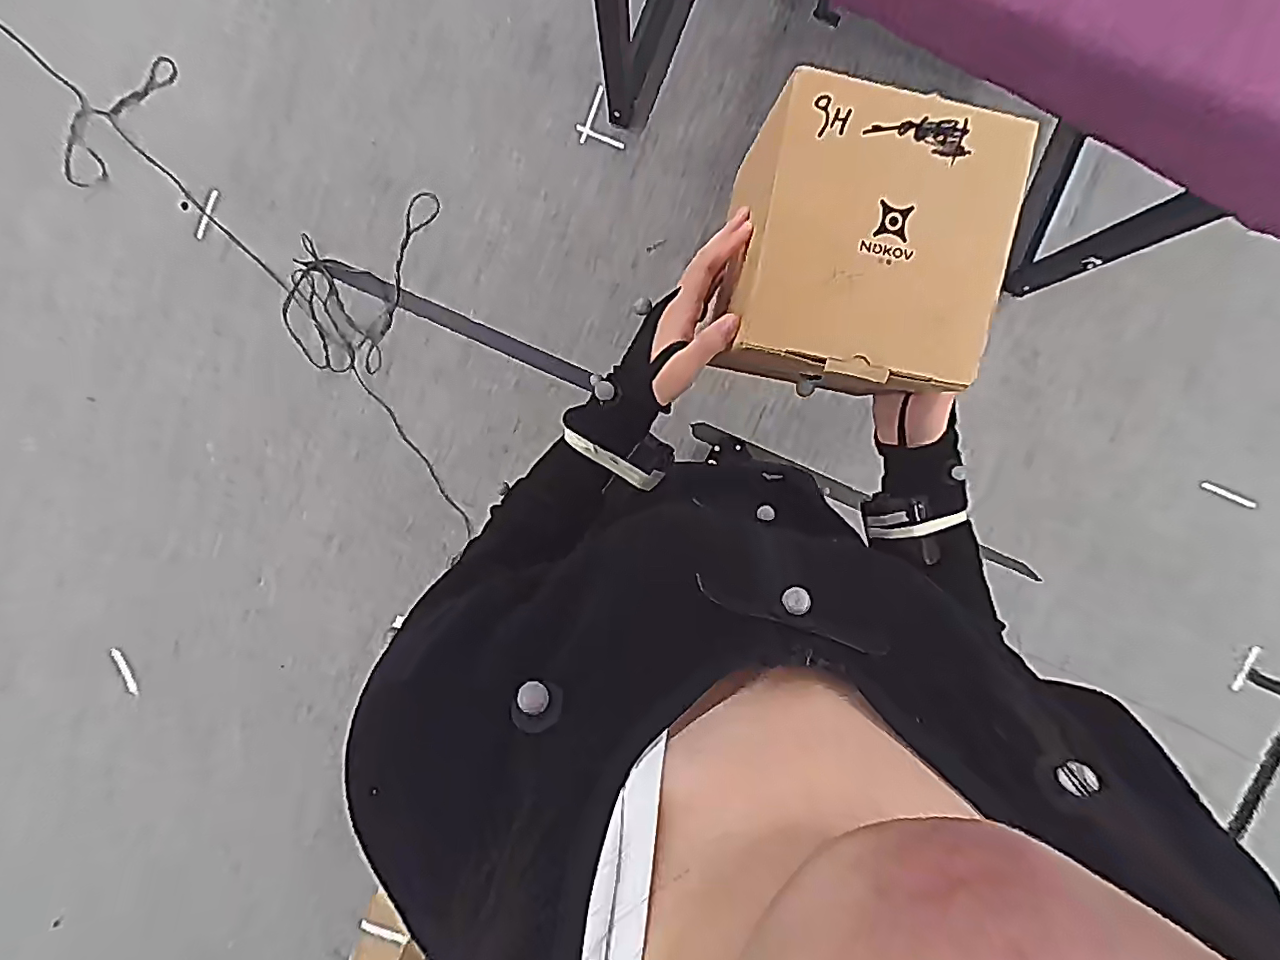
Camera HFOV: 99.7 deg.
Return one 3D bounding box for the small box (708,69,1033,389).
[{"bbox_3d":[0.159,-0.174,0.438,0.168,0.176,0.179,10,98,-5],"label":"small box"}]
